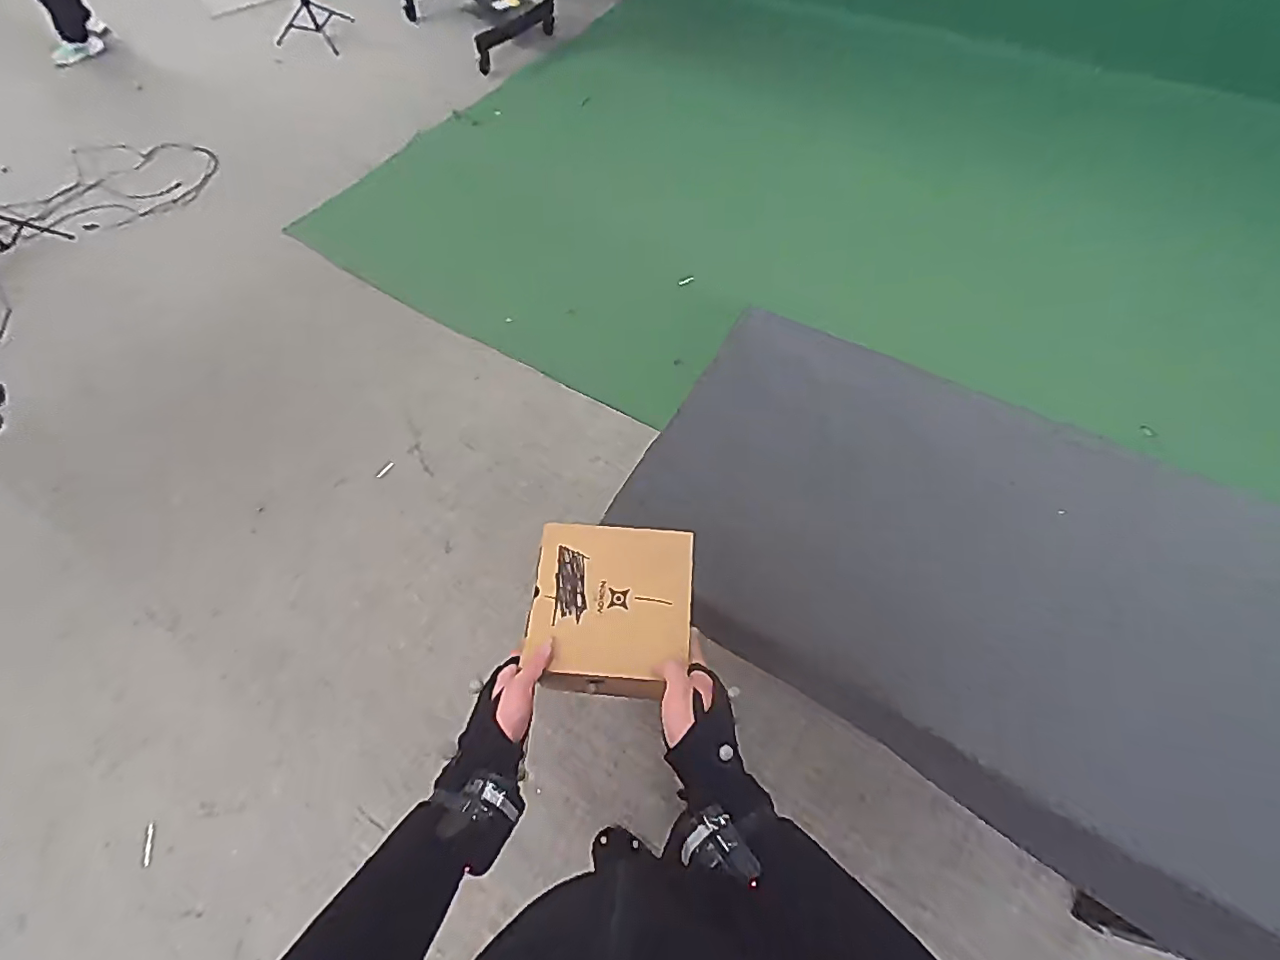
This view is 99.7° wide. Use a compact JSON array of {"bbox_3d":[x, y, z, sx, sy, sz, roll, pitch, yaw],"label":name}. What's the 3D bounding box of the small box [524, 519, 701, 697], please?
[{"bbox_3d":[-0.024,0.159,0.647,0.179,0.176,0.168,4,63,2],"label":"small box"}]
